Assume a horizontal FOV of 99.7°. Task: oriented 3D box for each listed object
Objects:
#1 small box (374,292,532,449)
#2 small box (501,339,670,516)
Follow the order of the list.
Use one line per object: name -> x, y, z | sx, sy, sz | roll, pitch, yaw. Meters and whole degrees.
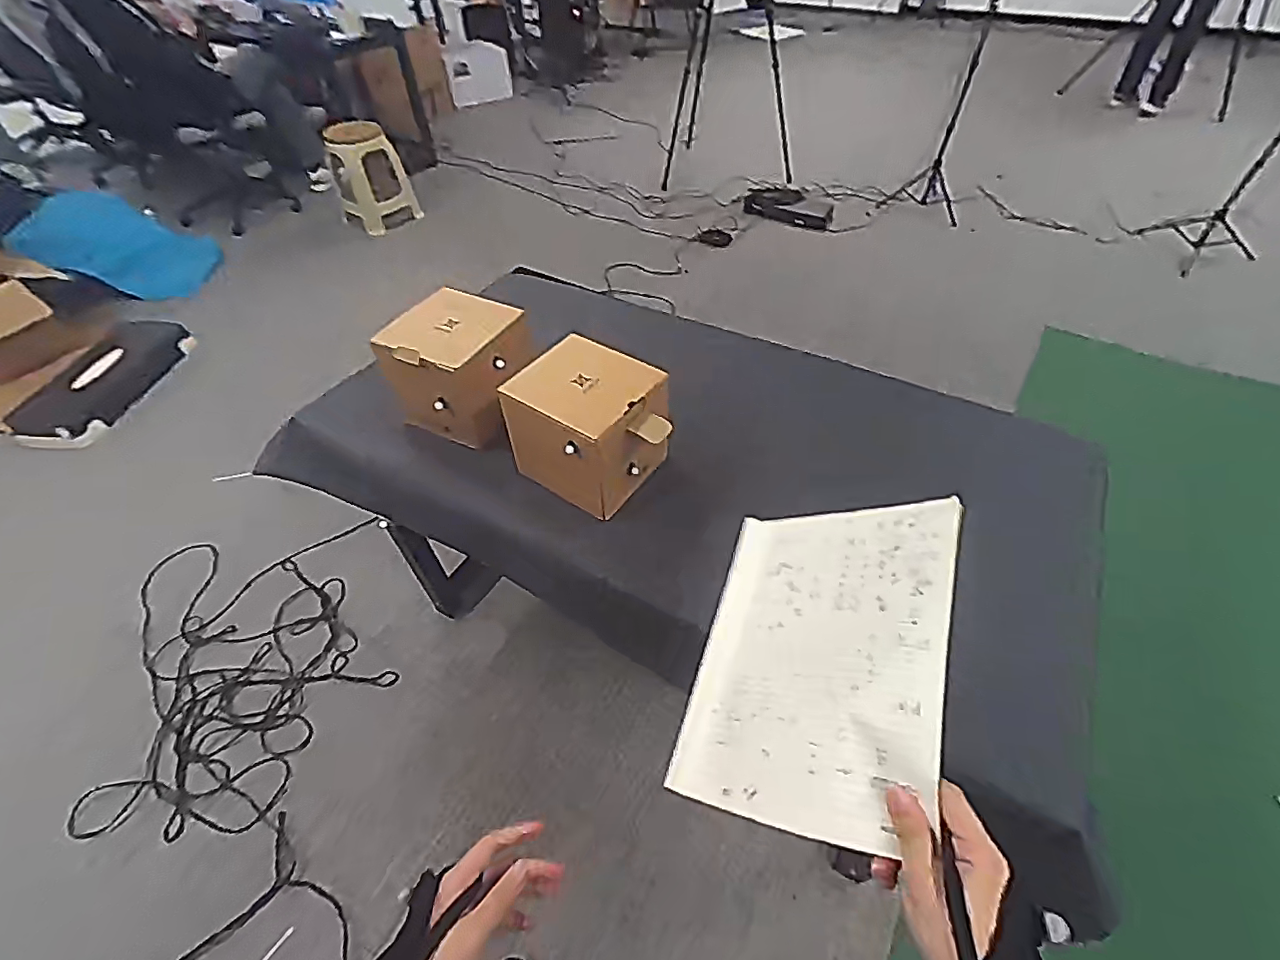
small box -> -0.292, -0.179, 0.896 | 0.168, 0.176, 0.179 | 21, 50, 17
small box -> -0.074, -0.076, 0.800 | 0.179, 0.176, 0.168 | 28, 54, 23
